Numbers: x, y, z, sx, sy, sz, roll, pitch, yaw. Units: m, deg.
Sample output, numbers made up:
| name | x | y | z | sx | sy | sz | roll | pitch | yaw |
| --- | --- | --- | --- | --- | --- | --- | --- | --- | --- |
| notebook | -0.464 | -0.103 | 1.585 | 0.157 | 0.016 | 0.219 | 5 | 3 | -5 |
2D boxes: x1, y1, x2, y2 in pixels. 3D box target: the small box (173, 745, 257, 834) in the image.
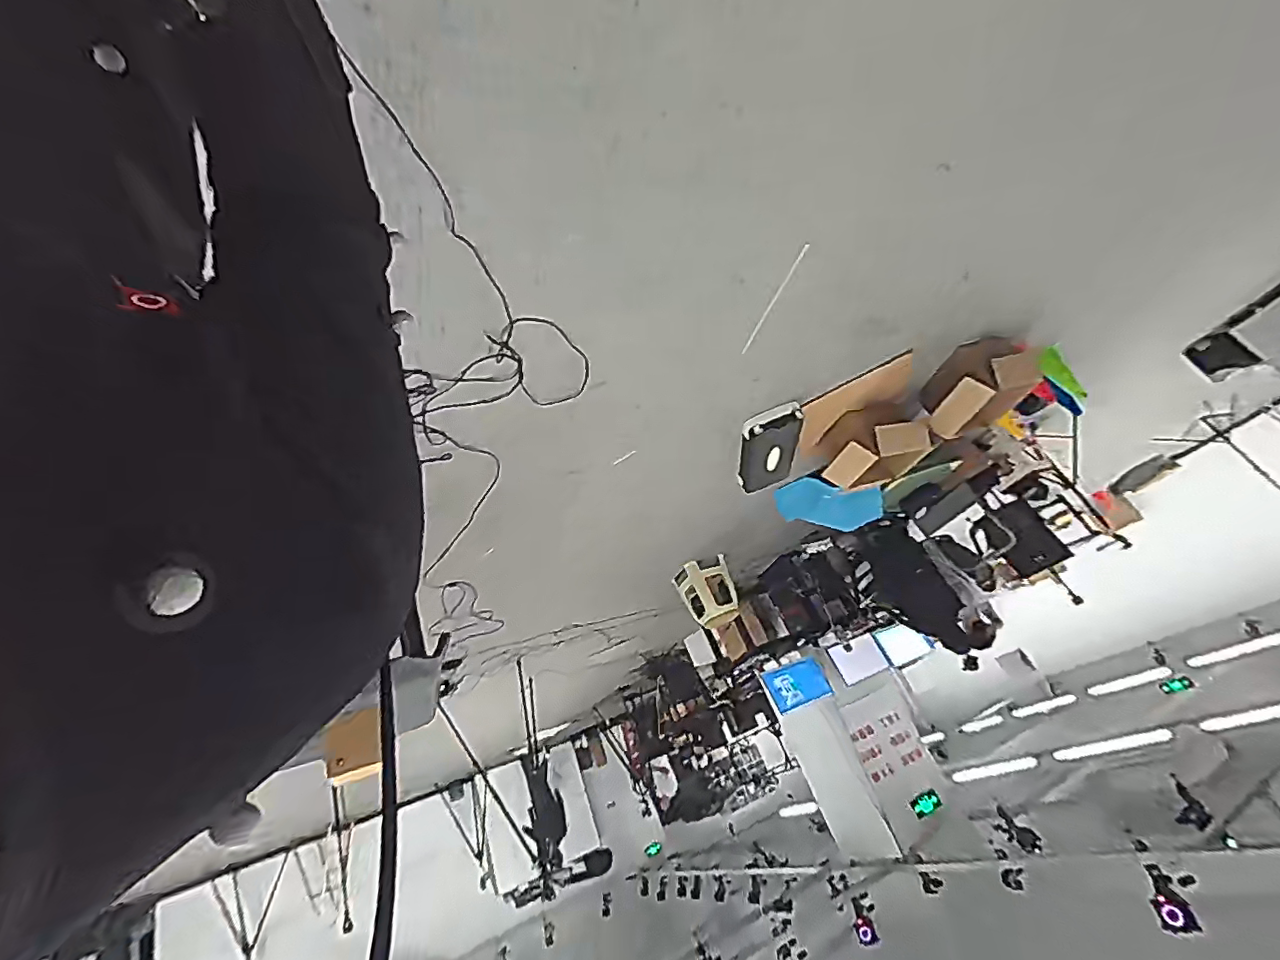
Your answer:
| name | x | y | z | sx | sy | sz | roll | pitch | yaw |
| --- | --- | --- | --- | --- | --- | --- | --- | --- | --- |
| small box | -1.205 | 0.873 | 1.537 | 0.168 | 0.176 | 0.179 | -5 | 149 | -30 |

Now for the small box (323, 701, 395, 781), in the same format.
| name | x | y | z | sx | sy | sz | roll | pitch | yaw |
| --- | --- | --- | --- | --- | --- | --- | --- | --- | --- |
| small box | -0.875 | 0.811 | 1.688 | 0.179 | 0.176 | 0.168 | -9 | 150 | -26 |
